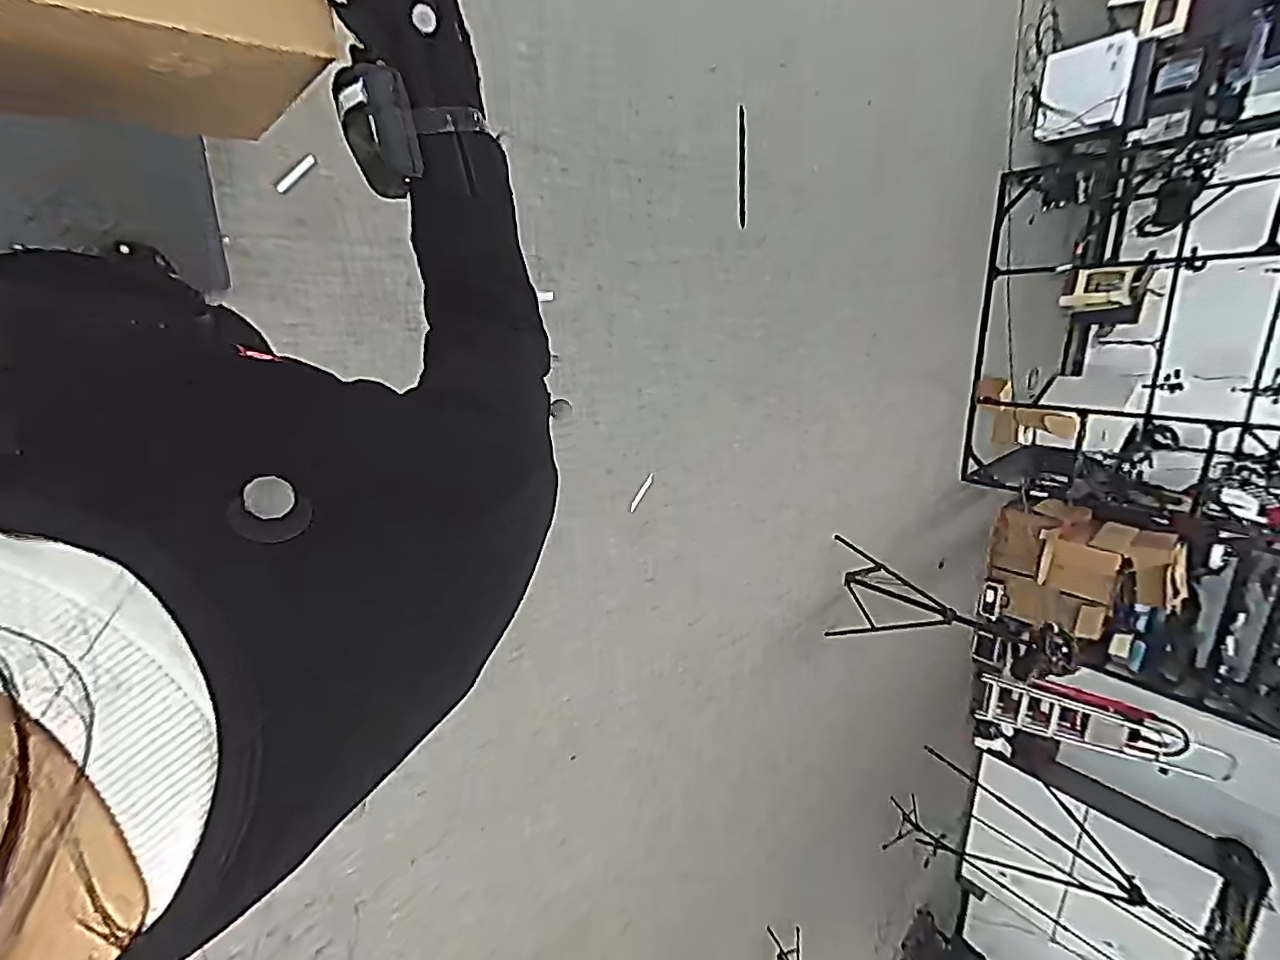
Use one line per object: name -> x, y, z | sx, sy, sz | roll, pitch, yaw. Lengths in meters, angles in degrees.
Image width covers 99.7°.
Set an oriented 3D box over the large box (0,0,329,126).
large box -> -0.436, -0.392, 0.252 | 0.408, 0.320, 0.320 | -19, 120, -37
